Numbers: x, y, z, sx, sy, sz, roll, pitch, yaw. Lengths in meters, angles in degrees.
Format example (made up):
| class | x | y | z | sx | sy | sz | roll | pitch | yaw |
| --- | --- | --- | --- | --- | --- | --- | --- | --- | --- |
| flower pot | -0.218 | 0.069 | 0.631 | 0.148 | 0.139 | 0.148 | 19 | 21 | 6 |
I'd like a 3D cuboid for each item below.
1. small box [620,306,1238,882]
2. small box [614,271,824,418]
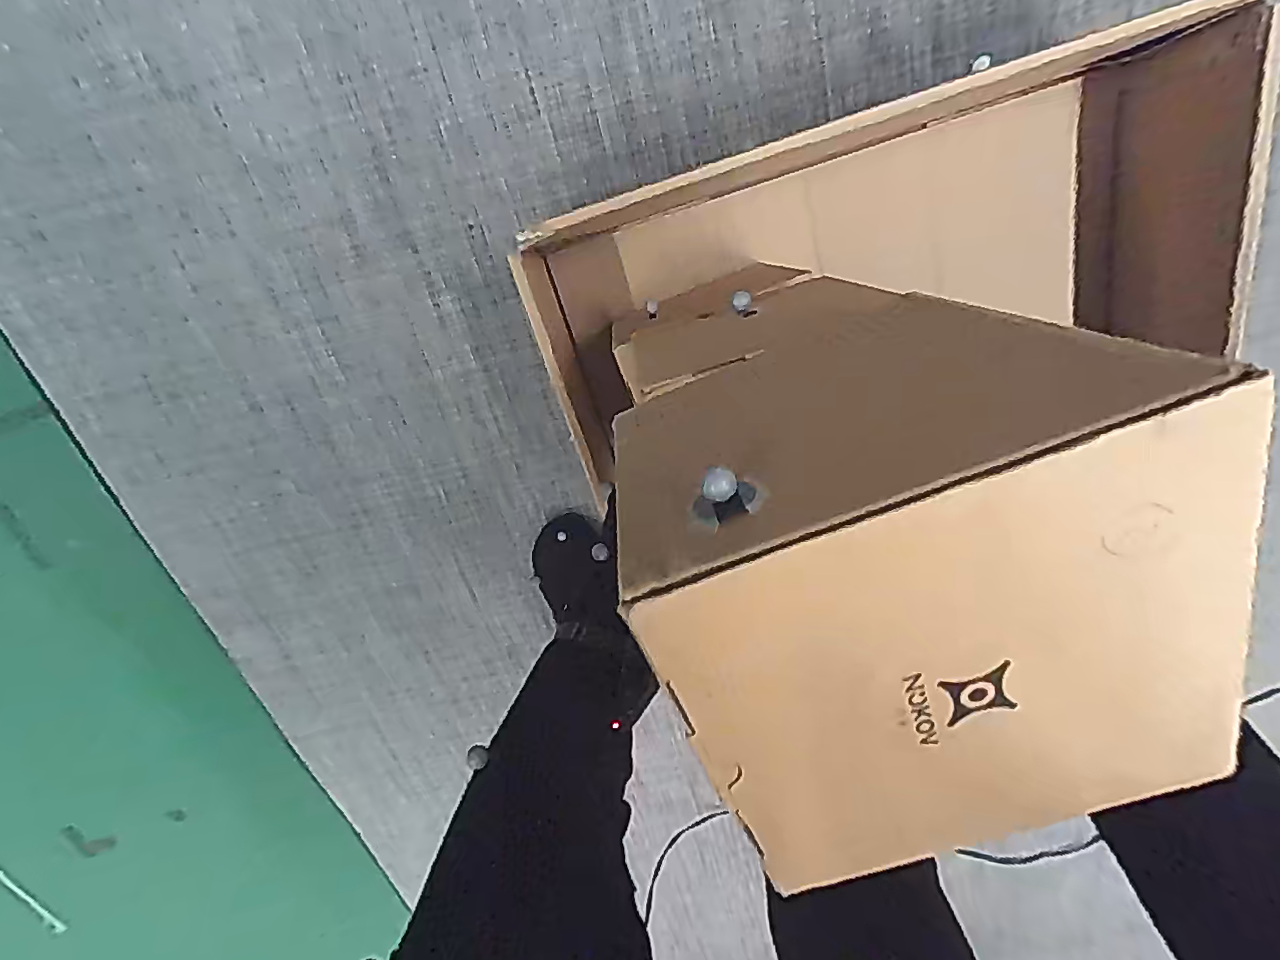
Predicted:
| class | x | y | z | sx | sy | sz | roll | pitch | yaw |
| --- | --- | --- | --- | --- | --- | --- | --- | --- | --- |
| small box | 0.099 | 0.035 | 0.253 | 0.179 | 0.176 | 0.168 | -22 | 114 | 8 |
| small box | 0.083 | -0.100 | 0.551 | 0.179 | 0.176 | 0.168 | -20 | 113 | 6 |
